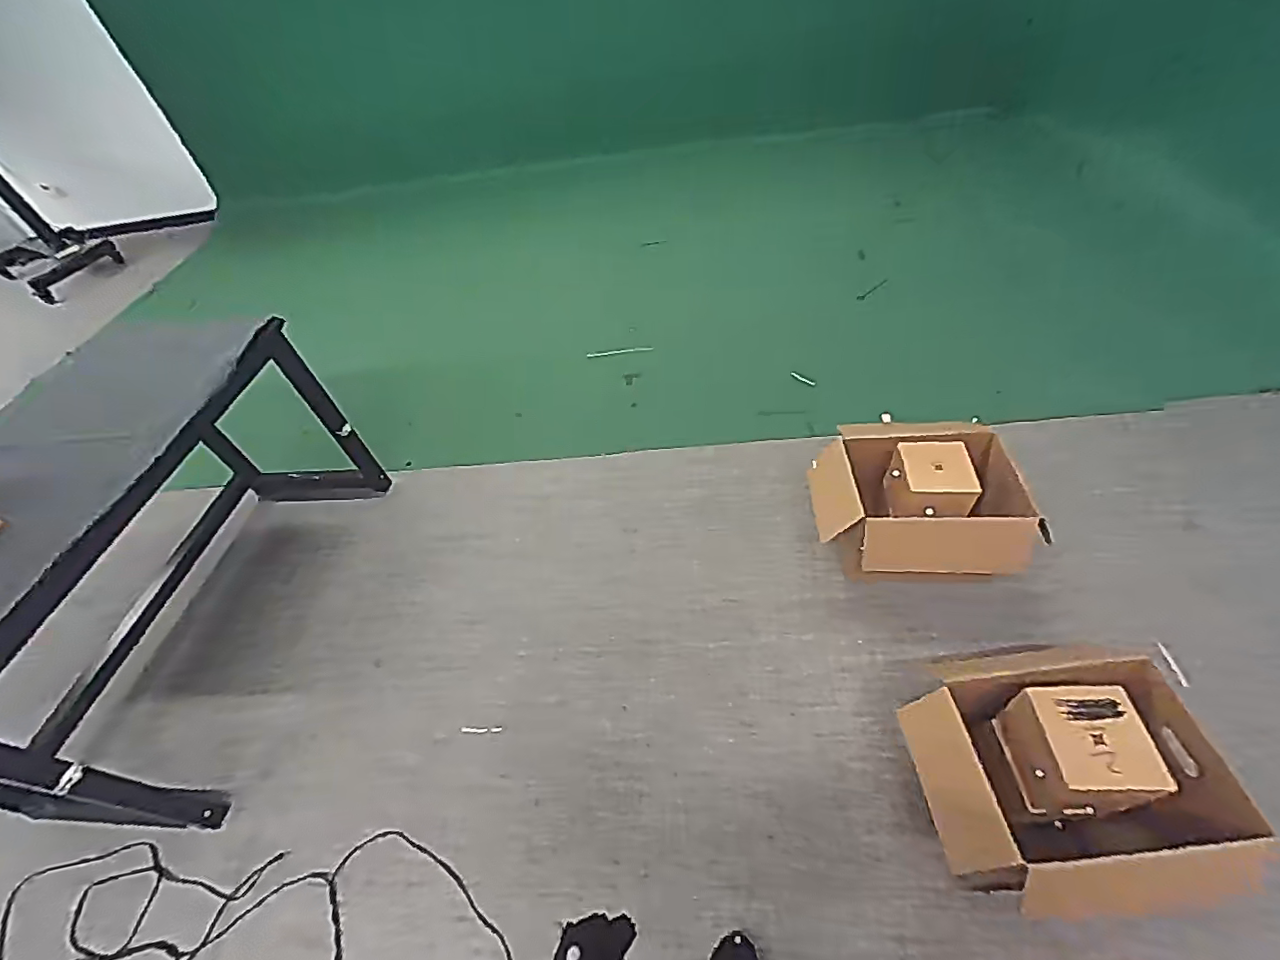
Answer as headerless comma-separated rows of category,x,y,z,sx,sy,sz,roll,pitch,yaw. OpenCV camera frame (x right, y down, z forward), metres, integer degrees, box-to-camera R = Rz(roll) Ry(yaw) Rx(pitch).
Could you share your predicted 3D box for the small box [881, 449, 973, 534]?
small box,0.774,0.035,1.475,0.168,0.176,0.179,0,49,9
